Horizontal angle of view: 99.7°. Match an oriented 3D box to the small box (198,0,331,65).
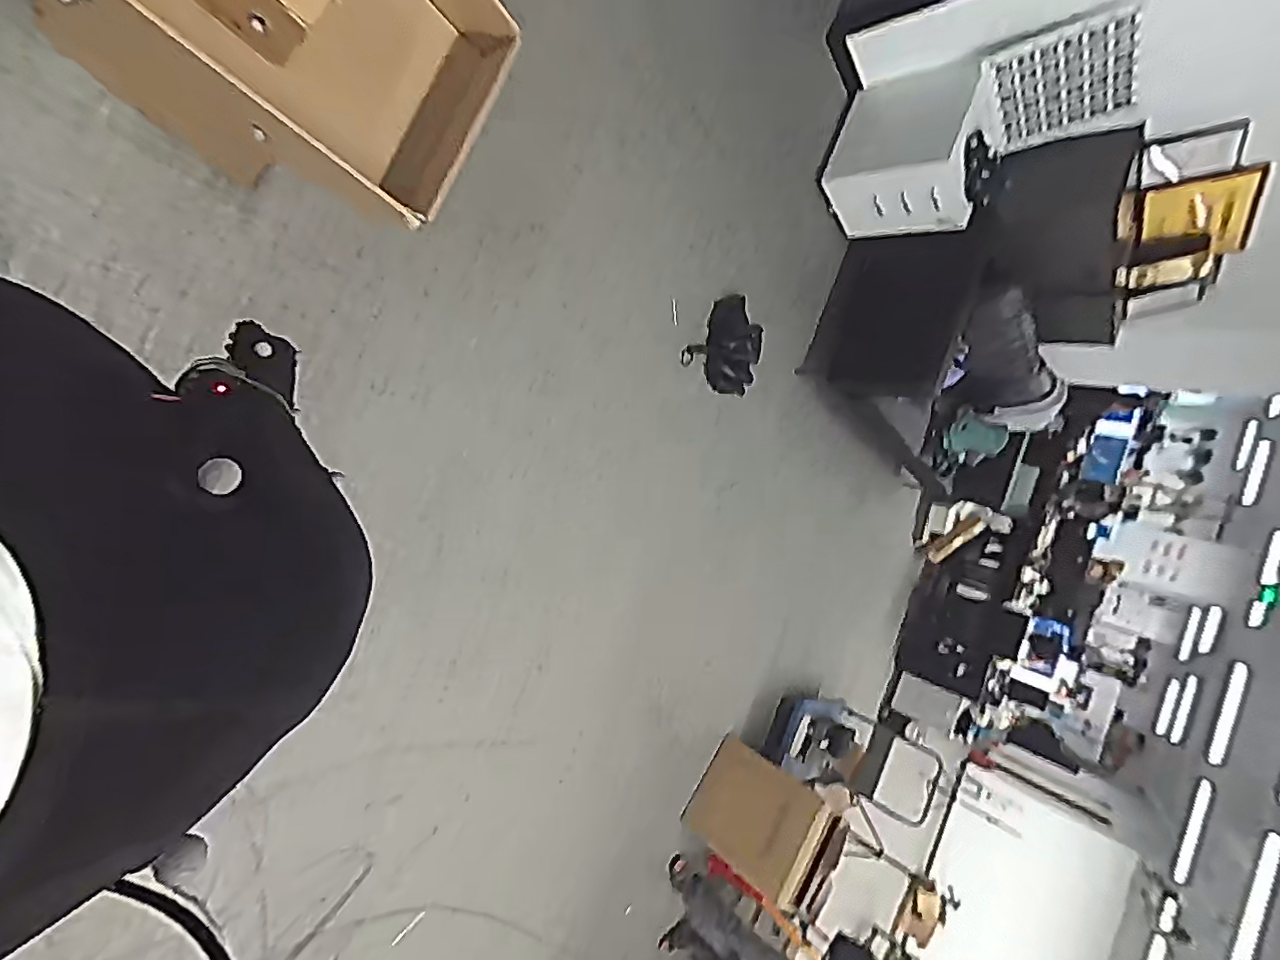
[{"bbox_3d":[-0.506,-0.707,0.716,0.168,0.176,0.179,28,79,-48],"label":"small box"}]
